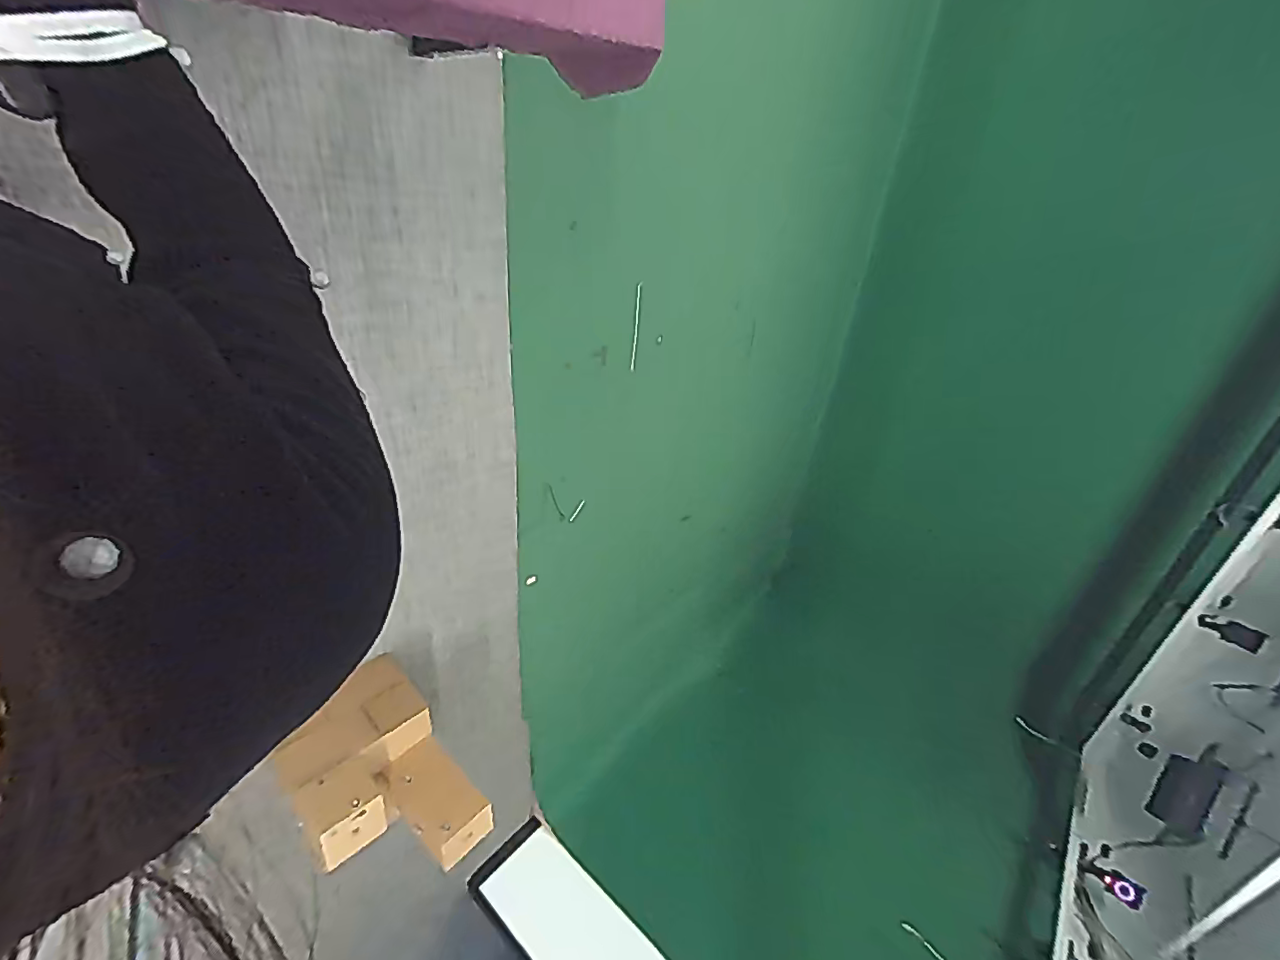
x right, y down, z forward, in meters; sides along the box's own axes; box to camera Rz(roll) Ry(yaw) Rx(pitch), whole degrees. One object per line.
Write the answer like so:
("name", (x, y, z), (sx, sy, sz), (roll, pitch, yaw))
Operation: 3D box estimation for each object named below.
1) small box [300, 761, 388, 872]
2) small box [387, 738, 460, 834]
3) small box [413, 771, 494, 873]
("small box", (-0.844, 0.952, 1.544), (0.168, 0.176, 0.179), (-22, 131, -45))
("small box", (-0.708, 0.998, 1.777), (0.179, 0.176, 0.168), (-29, 137, -42))
("small box", (-0.581, 1.064, 1.697), (0.179, 0.176, 0.168), (-28, 135, -42))
